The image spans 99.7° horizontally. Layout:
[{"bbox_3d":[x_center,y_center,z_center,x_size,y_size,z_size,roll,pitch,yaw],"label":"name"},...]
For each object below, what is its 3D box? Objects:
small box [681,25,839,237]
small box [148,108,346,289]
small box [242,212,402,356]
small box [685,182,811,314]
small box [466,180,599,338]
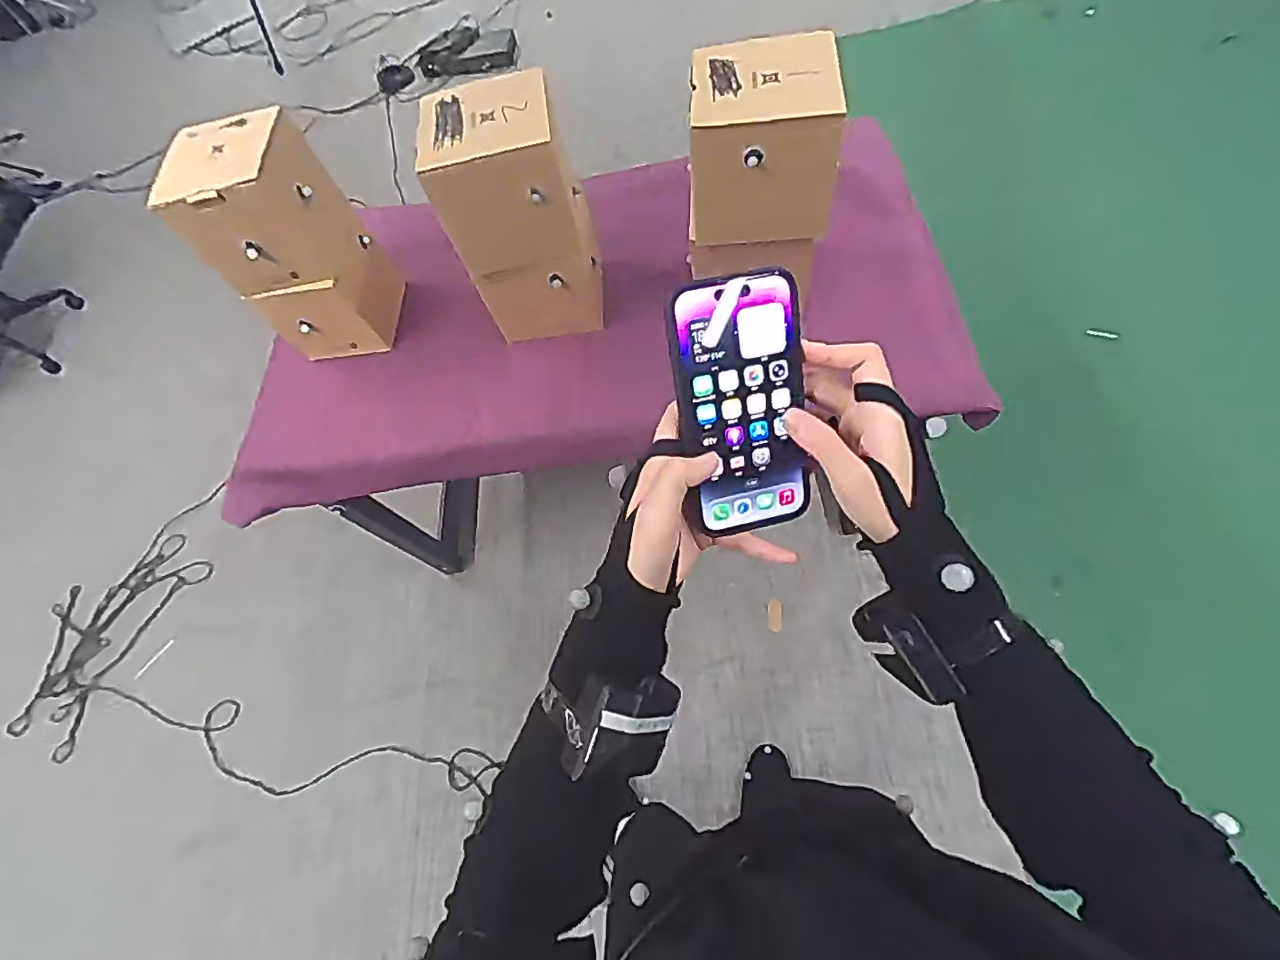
[{"bbox_3d":[0.151,-0.443,0.708,0.179,0.176,0.168,-1,64,10],"label":"small box"},{"bbox_3d":[-0.581,-0.417,0.828,0.168,0.176,0.179,-10,64,5],"label":"small box"},{"bbox_3d":[-0.553,-0.339,0.970,0.168,0.176,0.179,-6,64,8],"label":"small box"},{"bbox_3d":[0.169,-0.386,0.861,0.179,0.176,0.168,-1,64,11],"label":"small box"},{"bbox_3d":[-0.168,-0.363,0.909,0.179,0.176,0.168,-6,64,8],"label":"small box"}]
